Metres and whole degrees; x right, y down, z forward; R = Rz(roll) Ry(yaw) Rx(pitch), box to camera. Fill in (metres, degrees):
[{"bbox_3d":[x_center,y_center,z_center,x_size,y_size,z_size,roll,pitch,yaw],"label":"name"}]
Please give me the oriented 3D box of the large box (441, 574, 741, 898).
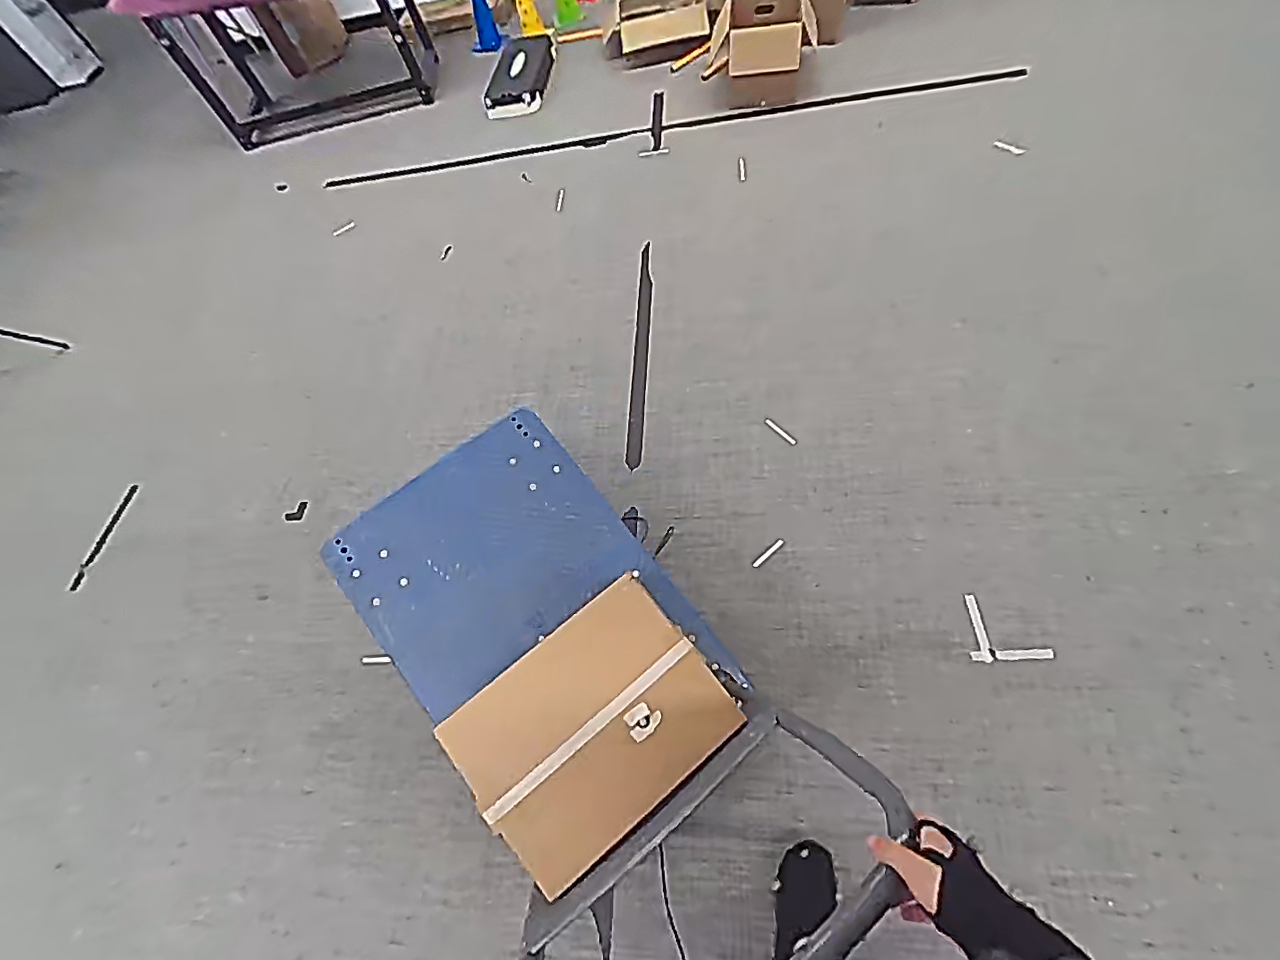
[{"bbox_3d":[-0.085,0.439,1.021,0.408,0.320,0.320,-38,81,-13],"label":"large box"}]
